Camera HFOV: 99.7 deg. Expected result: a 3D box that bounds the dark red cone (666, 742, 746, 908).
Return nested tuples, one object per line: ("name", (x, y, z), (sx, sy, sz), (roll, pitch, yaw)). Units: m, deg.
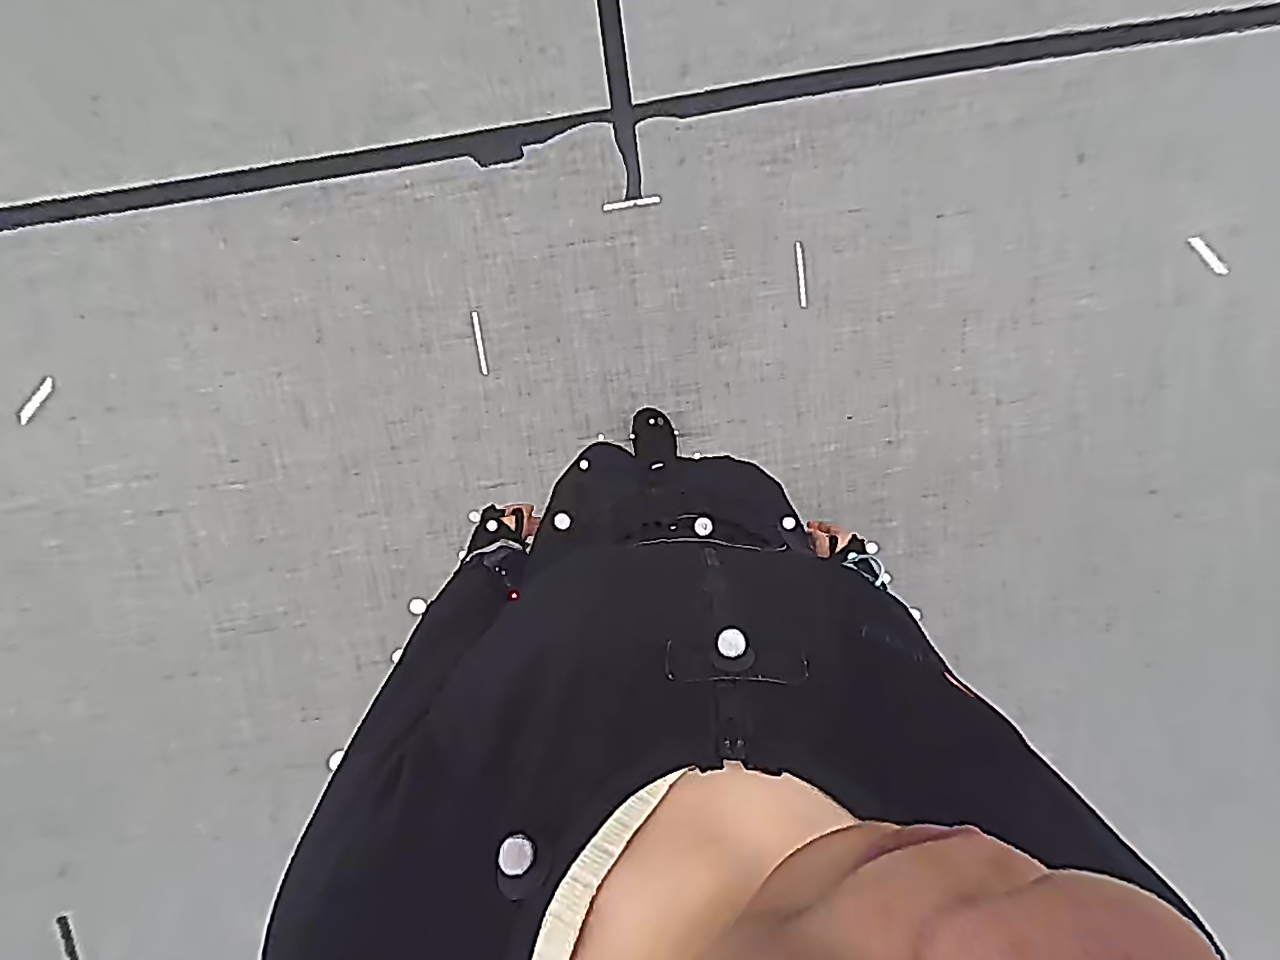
("dark red cone", (0.181, 0.829, 1.301), (0.201, 0.394, 0.202), (-9, 99, 1))
